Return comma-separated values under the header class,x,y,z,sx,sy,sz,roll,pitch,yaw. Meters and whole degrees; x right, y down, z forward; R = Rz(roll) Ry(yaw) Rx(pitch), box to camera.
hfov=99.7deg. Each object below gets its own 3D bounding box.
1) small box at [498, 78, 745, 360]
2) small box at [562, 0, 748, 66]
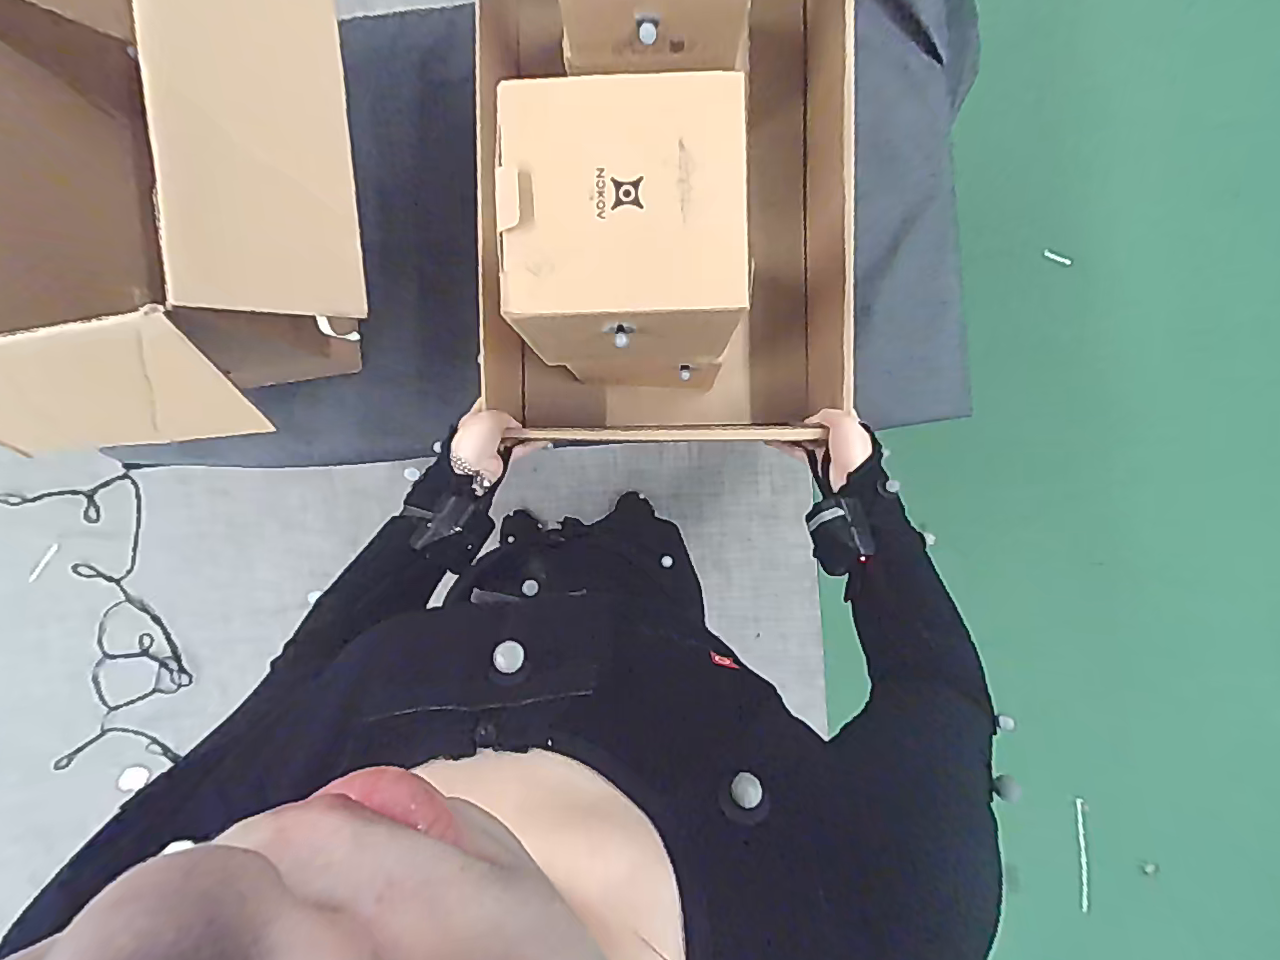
class,x,y,z,sx,sy,sz,roll,pitch,yaw
small box,-0.011,-0.201,0.463,0.179,0.176,0.168,-1,92,1
small box,0.011,-0.494,0.450,0.168,0.176,0.179,0,93,2
